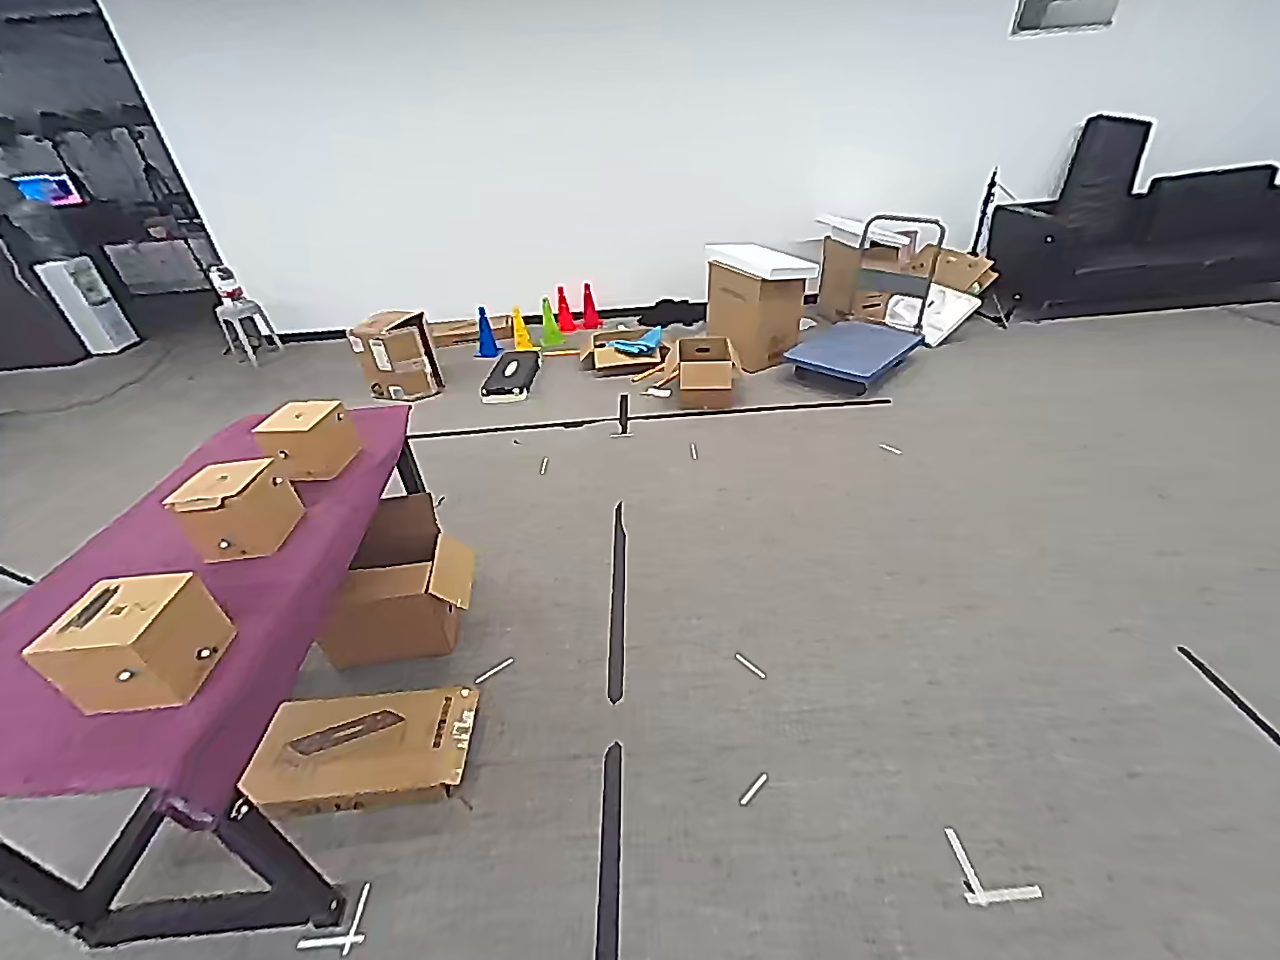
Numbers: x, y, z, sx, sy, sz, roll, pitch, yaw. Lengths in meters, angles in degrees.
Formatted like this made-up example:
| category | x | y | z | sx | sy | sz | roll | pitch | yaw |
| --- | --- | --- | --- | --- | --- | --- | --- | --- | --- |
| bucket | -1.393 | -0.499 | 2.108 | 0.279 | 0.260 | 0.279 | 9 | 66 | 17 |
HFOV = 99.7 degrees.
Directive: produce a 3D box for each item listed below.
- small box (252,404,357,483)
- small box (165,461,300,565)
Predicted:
| category | x | y | z | sx | sy | sz | roll | pitch | yaw |
| --- | --- | --- | --- | --- | --- | --- | --- | --- | --- |
| small box | -0.946 | -0.101 | 1.548 | 0.168 | 0.176 | 0.179 | -2 | 34 | 5 |
| small box | -0.949 | 0.078 | 1.285 | 0.168 | 0.176 | 0.179 | -8 | 34 | 0 |
